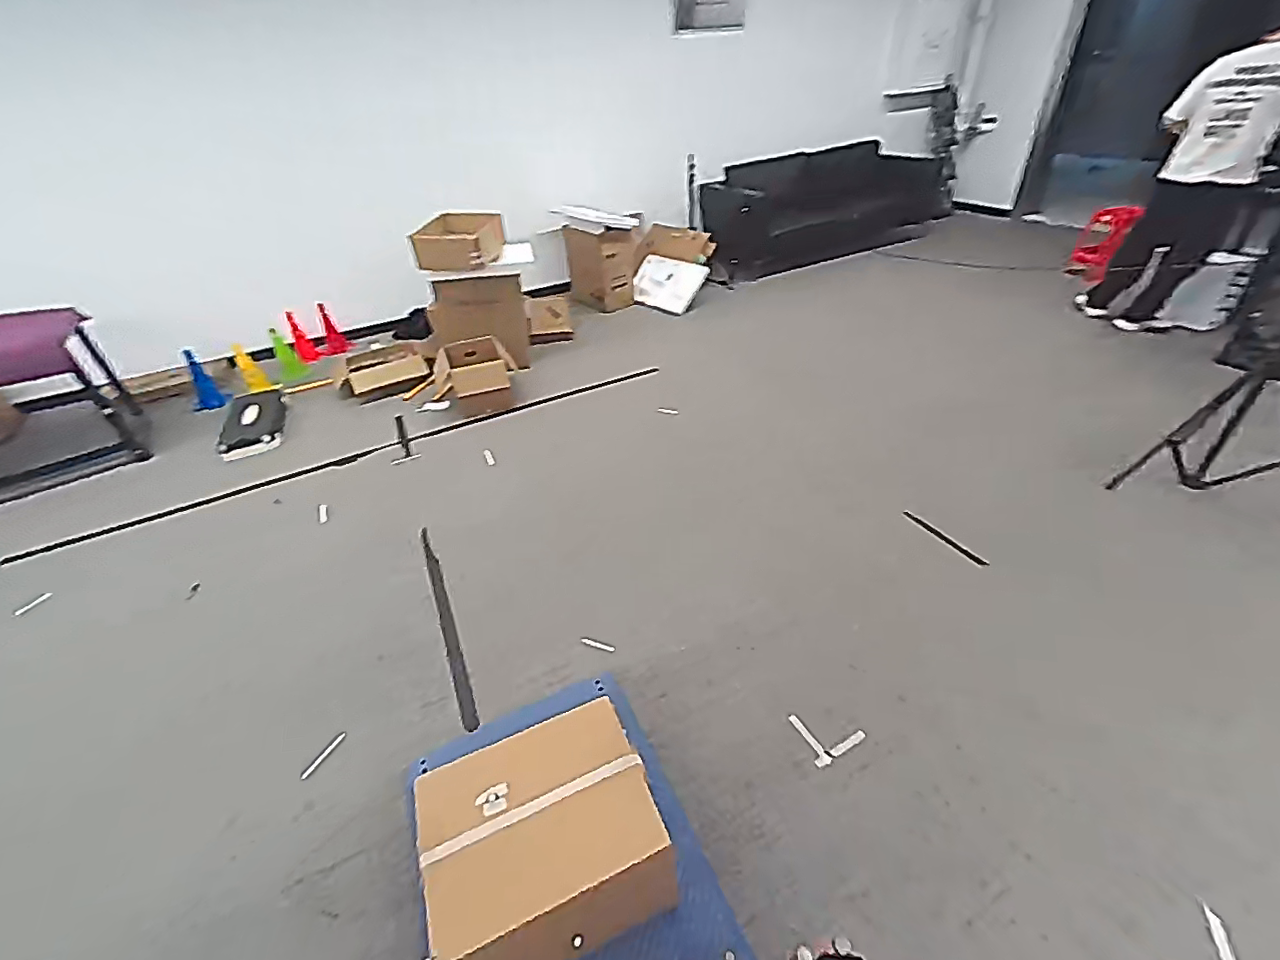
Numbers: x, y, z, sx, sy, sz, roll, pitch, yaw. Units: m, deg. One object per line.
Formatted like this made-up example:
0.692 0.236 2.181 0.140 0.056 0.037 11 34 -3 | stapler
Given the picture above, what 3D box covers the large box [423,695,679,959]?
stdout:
-0.169 0.719 1.085 0.408 0.320 0.320 -19 38 -16 | large box
